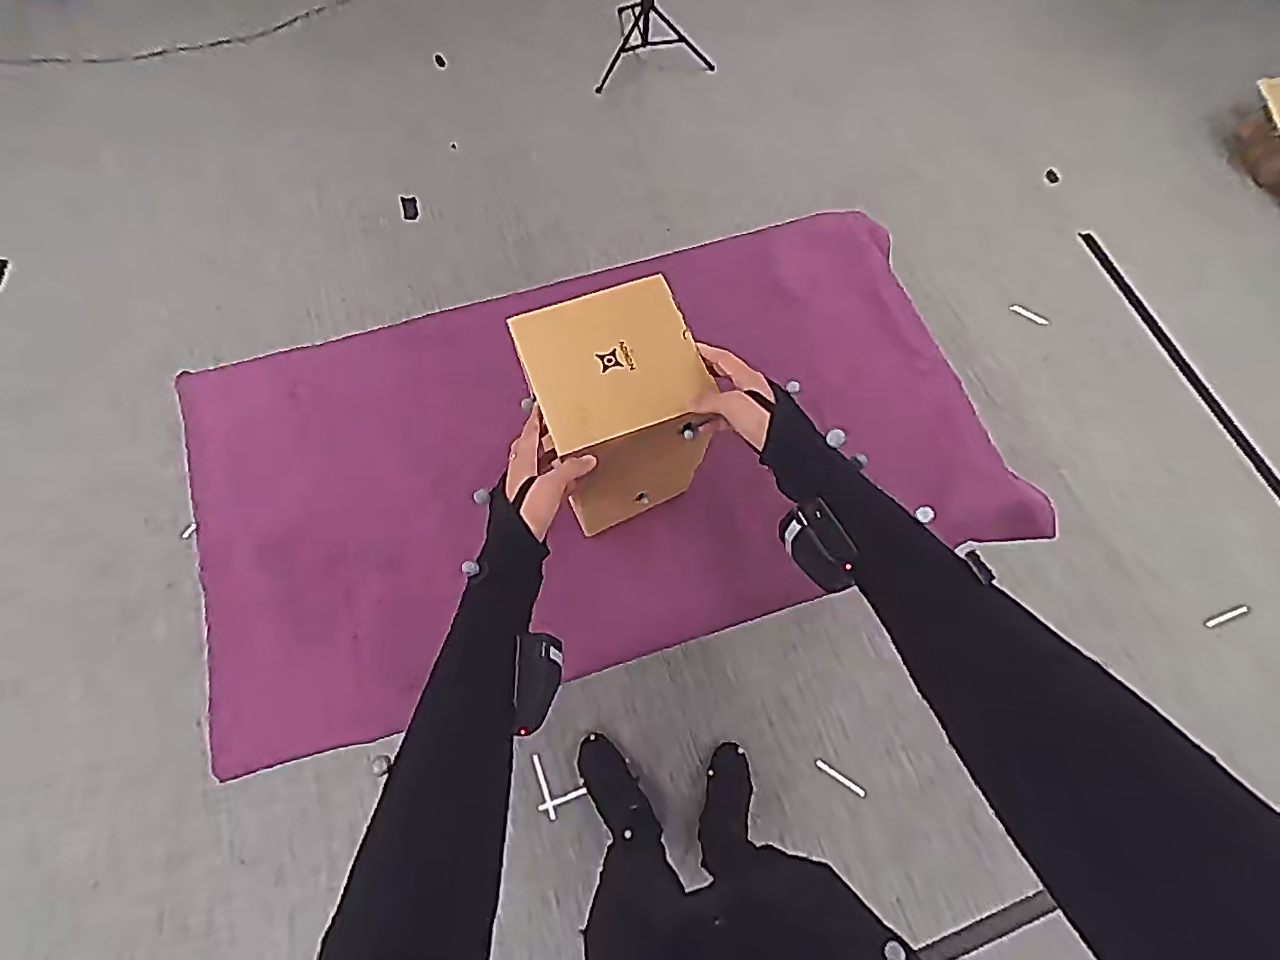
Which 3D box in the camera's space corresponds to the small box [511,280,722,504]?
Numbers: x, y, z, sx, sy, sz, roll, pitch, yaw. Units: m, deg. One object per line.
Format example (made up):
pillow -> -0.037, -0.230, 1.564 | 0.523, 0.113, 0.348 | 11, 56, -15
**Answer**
small box -> -0.028, -0.090, 0.620 | 0.179, 0.176, 0.168 | -20, 72, -10
